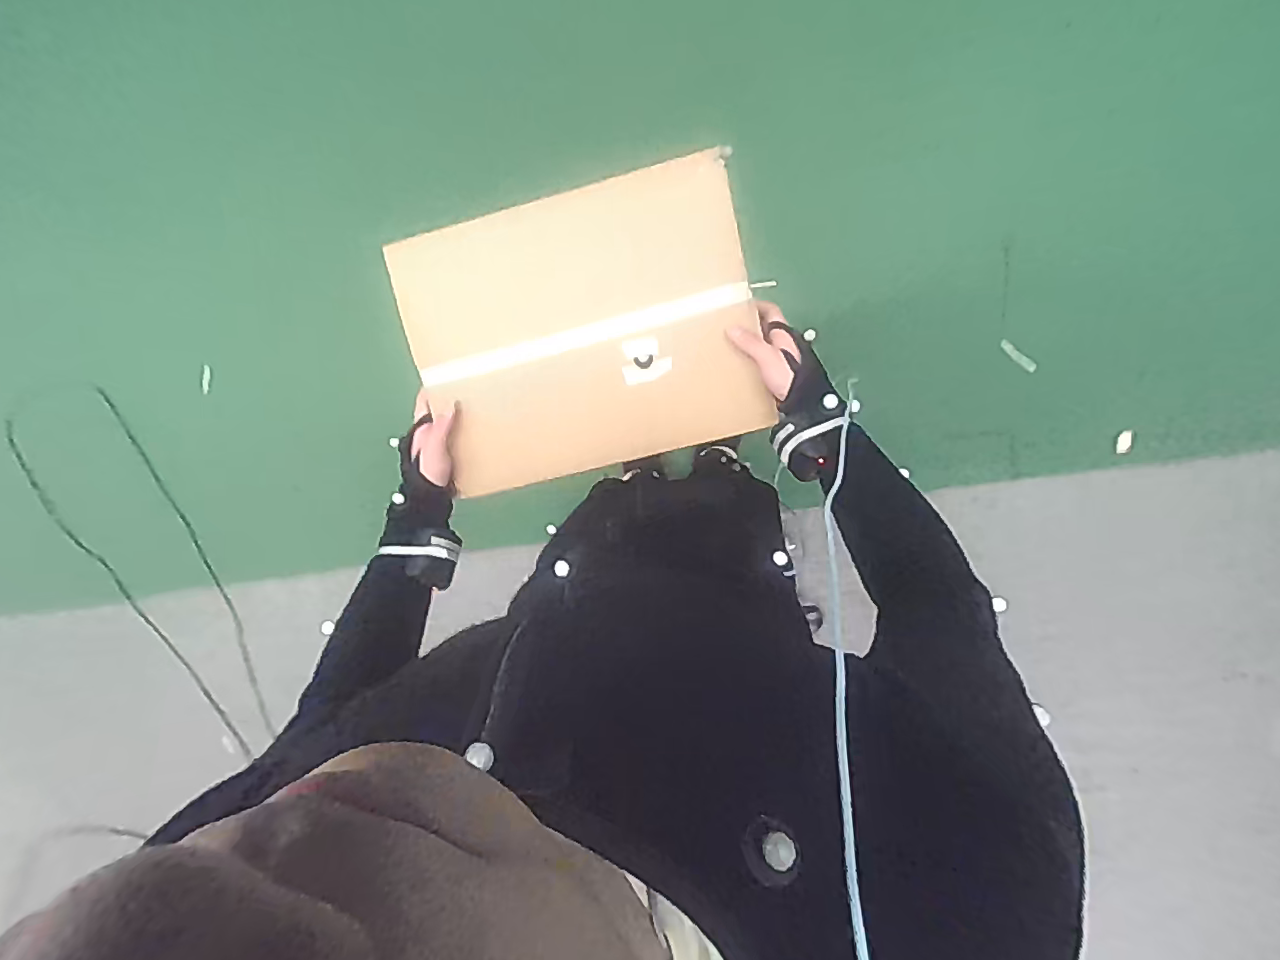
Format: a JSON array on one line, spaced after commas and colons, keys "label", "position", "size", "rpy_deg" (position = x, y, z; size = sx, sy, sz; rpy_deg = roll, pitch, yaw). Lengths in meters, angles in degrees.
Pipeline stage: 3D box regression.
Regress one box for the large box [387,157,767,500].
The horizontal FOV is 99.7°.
[{"label": "large box", "position": [-0.068, -0.190, 0.791], "size": [0.408, 0.320, 0.320], "rpy_deg": [-14, 99, 6]}]
